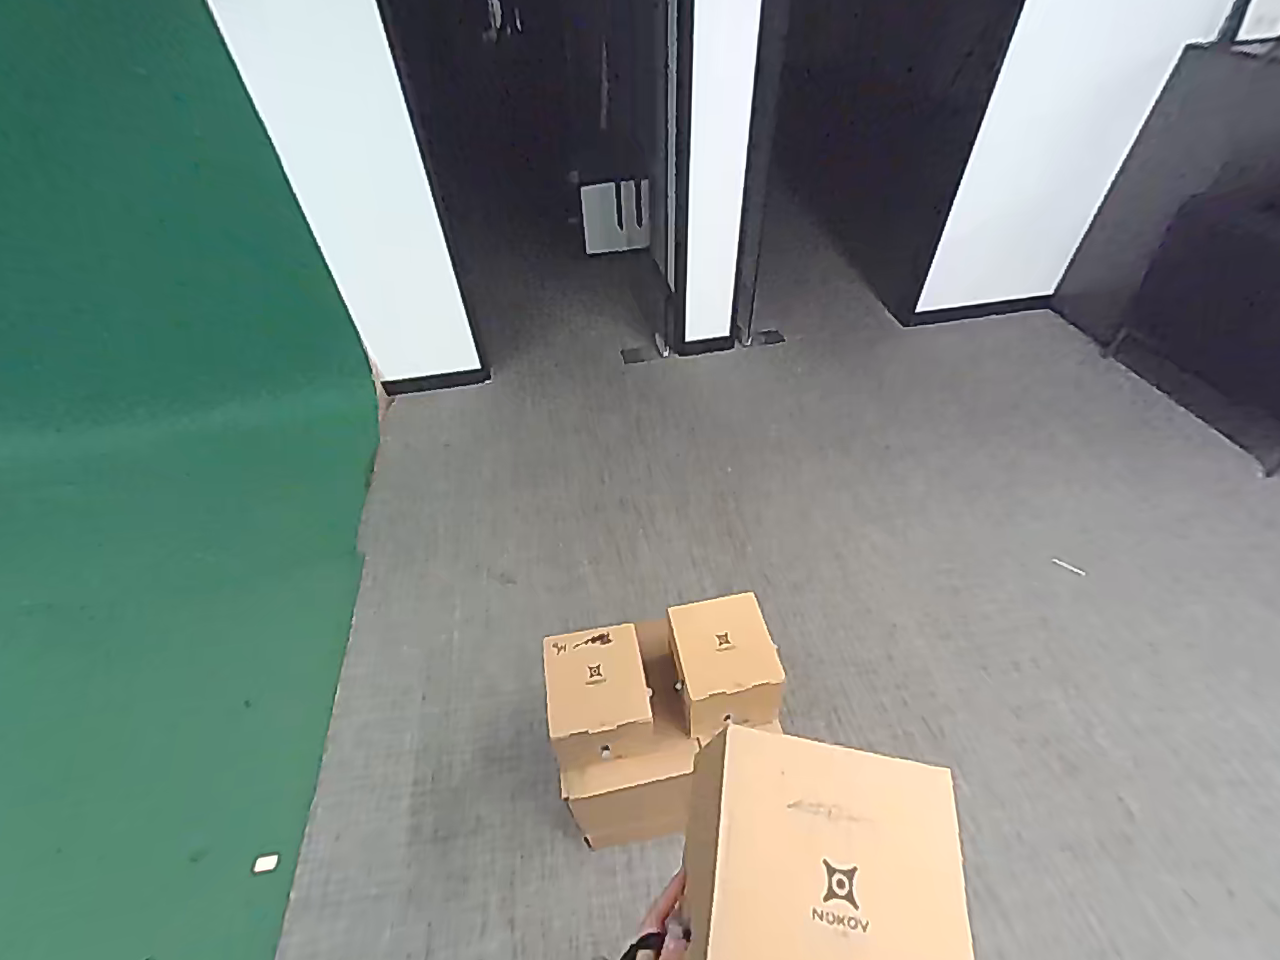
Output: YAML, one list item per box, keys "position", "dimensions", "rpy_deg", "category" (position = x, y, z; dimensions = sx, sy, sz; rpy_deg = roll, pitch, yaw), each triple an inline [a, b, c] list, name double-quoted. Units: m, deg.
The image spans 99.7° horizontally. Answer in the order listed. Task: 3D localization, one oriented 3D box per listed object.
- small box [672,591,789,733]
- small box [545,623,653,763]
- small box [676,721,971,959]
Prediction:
- position: [0.155, 0.334, 0.993]
  dimensions: [0.168, 0.176, 0.179]
  rpy_deg: [-10, 46, -5]
  category: "small box"
- position: [-0.070, 0.382, 0.959]
  dimensions: [0.168, 0.176, 0.179]
  rpy_deg: [-8, 48, -7]
  category: "small box"
- position: [0.125, 0.307, 0.417]
  dimensions: [0.168, 0.176, 0.179]
  rpy_deg: [11, 57, 3]
  category: "small box"
